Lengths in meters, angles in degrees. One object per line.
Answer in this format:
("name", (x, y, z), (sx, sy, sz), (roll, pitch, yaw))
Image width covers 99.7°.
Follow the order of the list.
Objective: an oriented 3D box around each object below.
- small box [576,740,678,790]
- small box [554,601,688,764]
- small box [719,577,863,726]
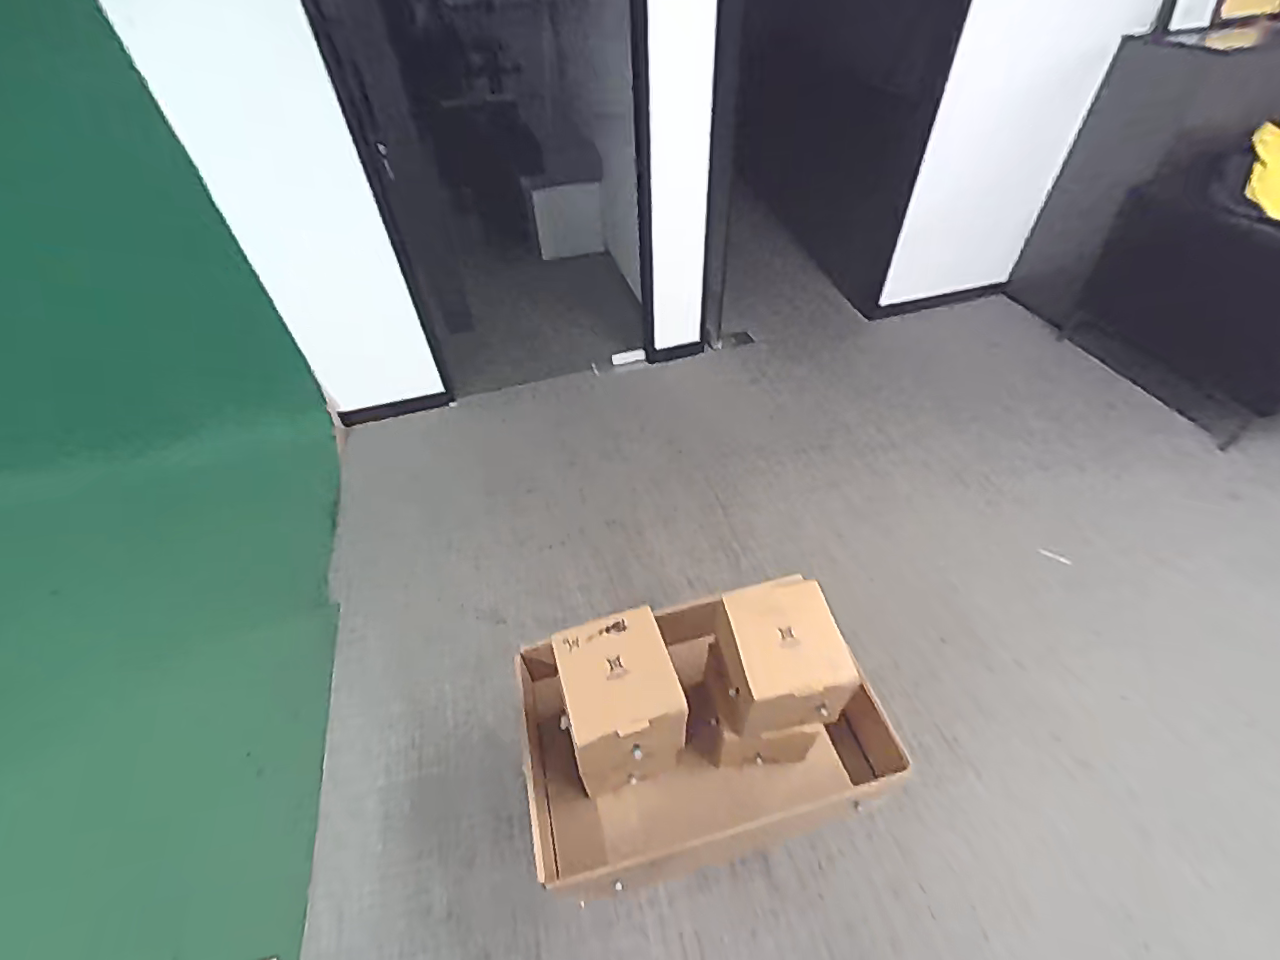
("small box", (-0.038, 0.429, 0.983), (0.168, 0.176, 0.179), (-15, 49, -10))
("small box", (-0.030, 0.326, 0.854), (0.168, 0.176, 0.179), (-14, 49, -11))
("small box", (0.233, 0.285, 0.885), (0.168, 0.176, 0.179), (-7, 47, -5))
